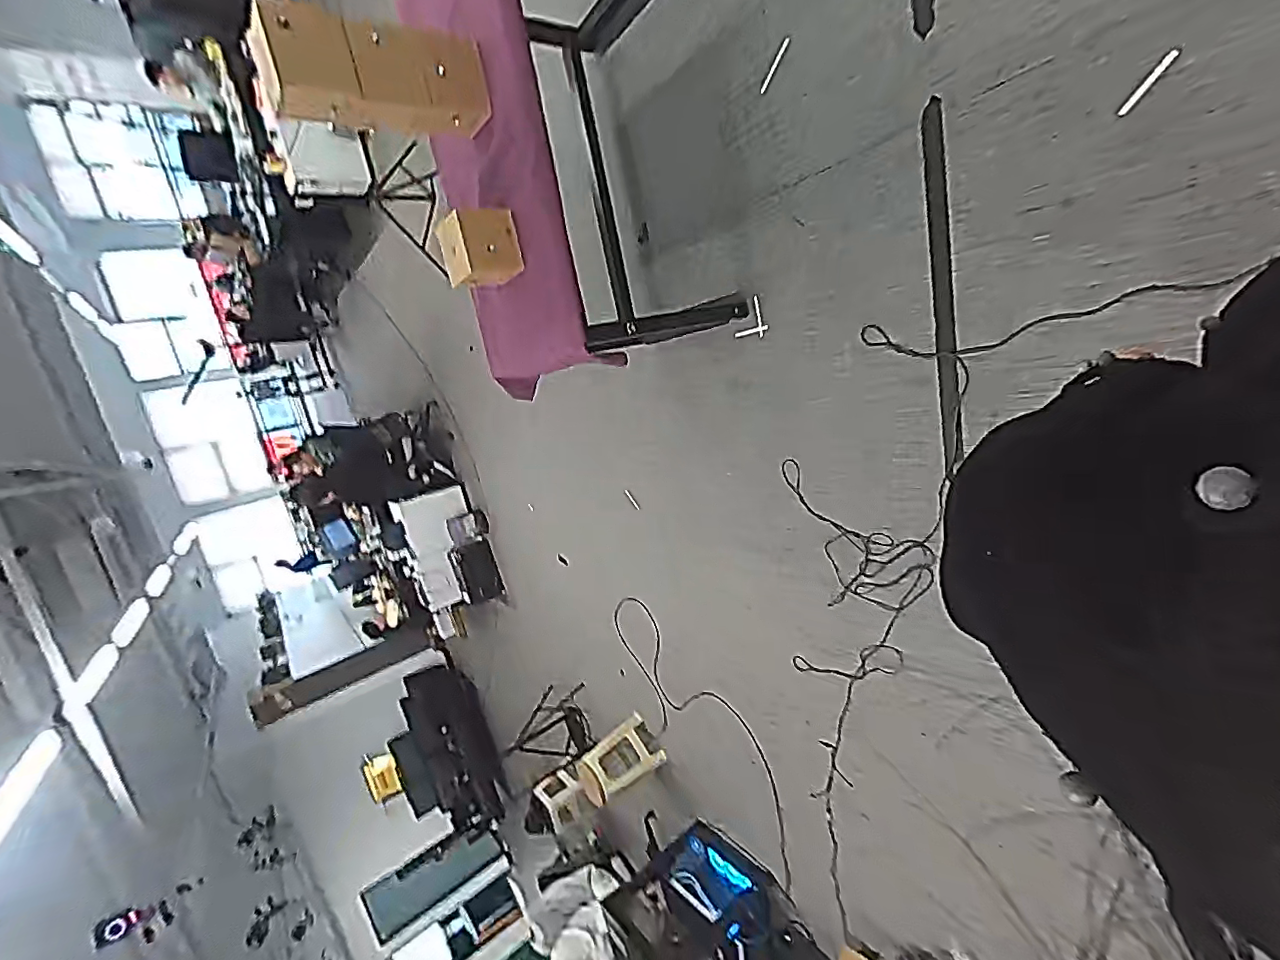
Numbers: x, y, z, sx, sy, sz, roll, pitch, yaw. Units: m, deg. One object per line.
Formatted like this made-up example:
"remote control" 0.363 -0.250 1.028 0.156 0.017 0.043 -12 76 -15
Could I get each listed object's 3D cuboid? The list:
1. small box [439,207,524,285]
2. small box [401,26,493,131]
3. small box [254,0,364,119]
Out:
"small box" -0.450 -0.674 1.556 0.179 0.176 0.168 4 110 55
"small box" -0.510 -1.057 1.443 0.168 0.176 0.179 8 112 52
"small box" -0.766 -0.971 1.254 0.168 0.176 0.179 8 113 53
